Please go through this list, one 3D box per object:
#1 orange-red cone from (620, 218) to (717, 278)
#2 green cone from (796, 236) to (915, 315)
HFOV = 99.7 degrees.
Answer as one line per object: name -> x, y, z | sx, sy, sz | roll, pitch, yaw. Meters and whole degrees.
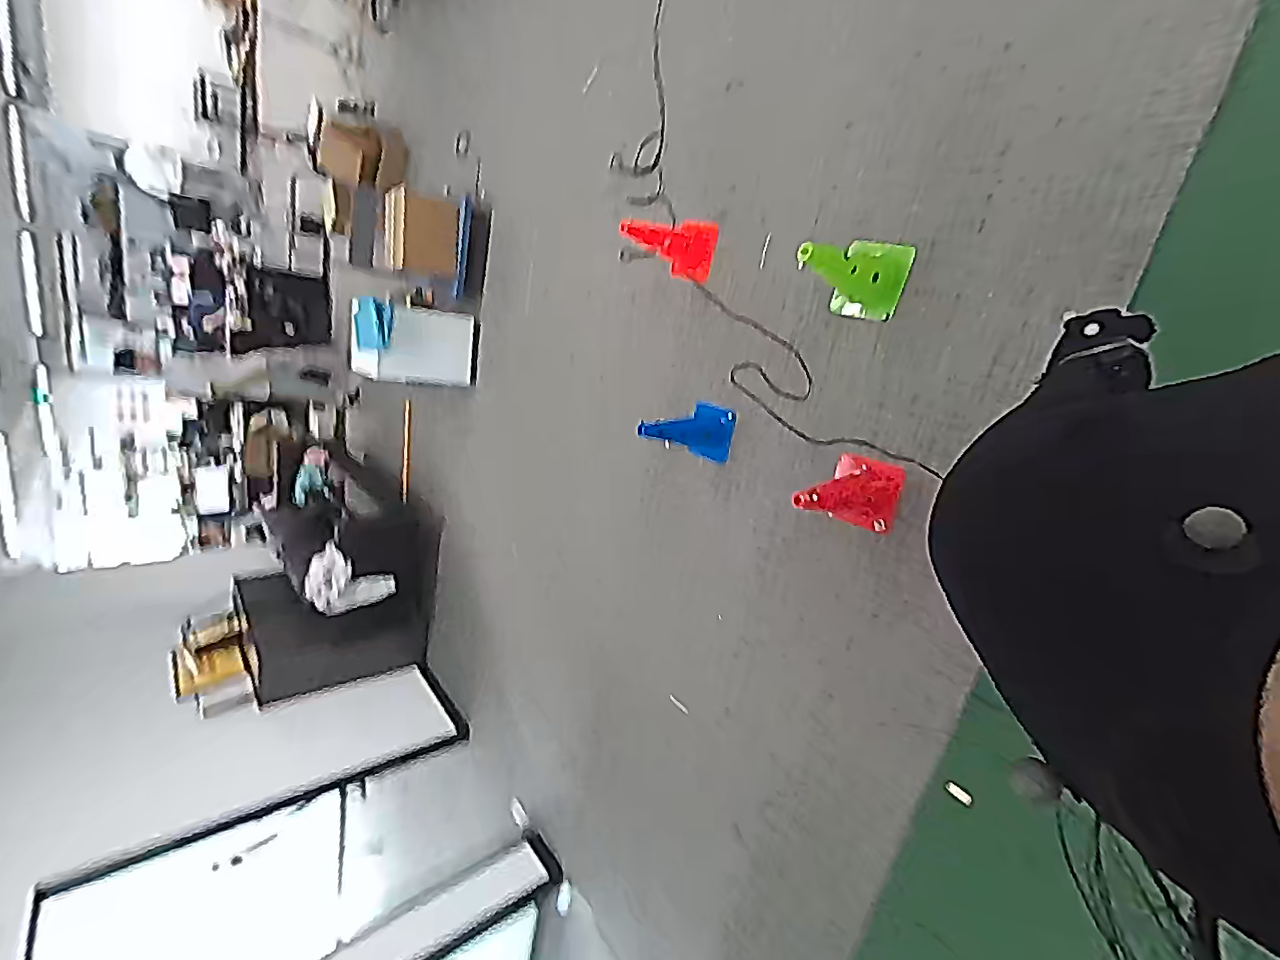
orange-red cone -> 0.076, -0.865, 1.923 | 0.199, 0.360, 0.198 | 33, 117, 40
green cone -> 0.533, -0.579, 1.429 | 0.202, 0.368, 0.200 | 31, 115, 44
